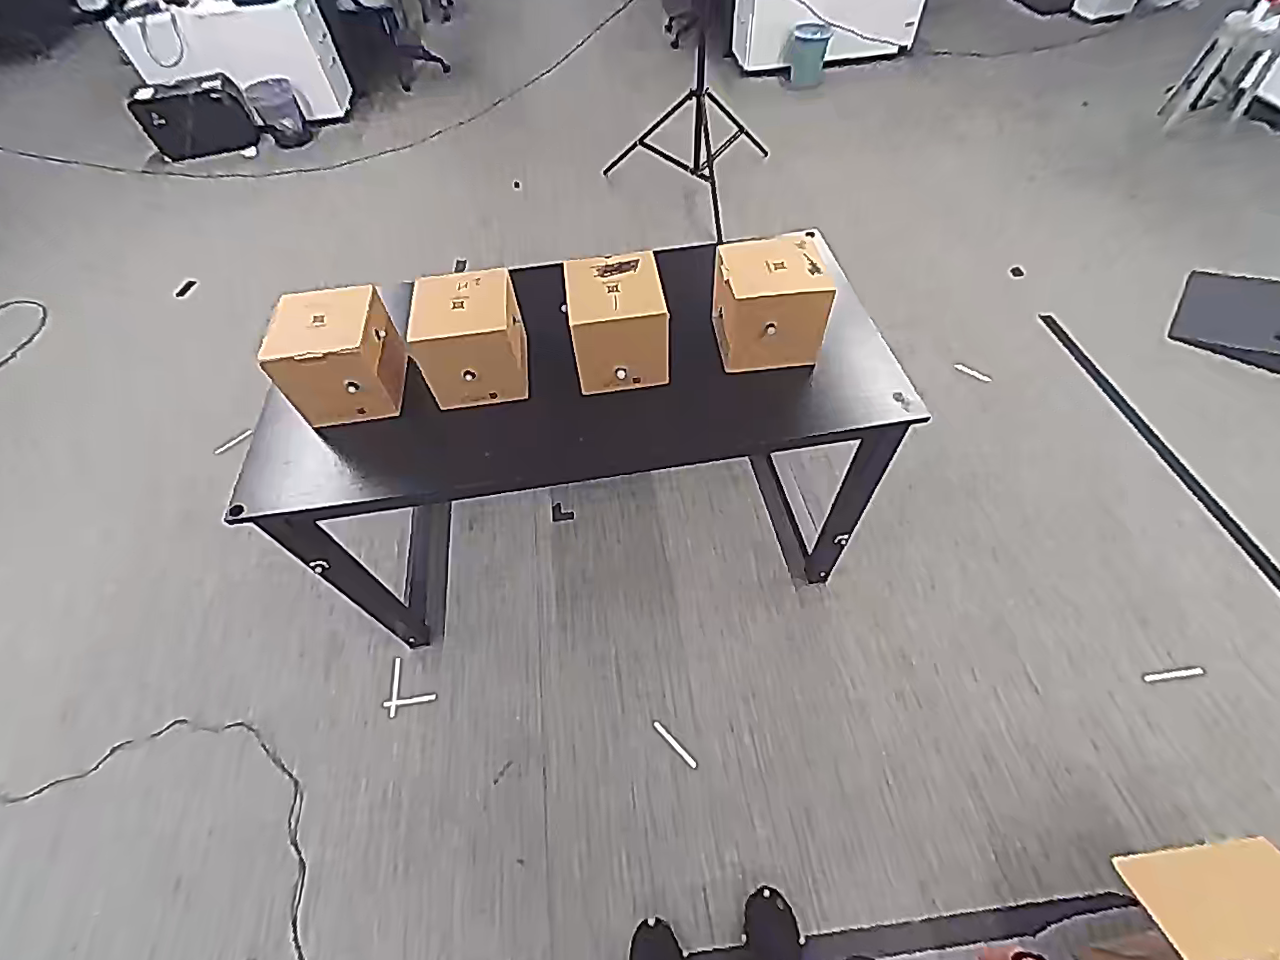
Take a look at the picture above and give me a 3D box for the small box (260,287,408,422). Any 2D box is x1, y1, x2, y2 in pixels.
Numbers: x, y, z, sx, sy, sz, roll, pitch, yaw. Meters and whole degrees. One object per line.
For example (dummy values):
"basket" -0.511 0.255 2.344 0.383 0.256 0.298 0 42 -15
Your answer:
"small box" -0.542 -0.221 0.988 0.168 0.176 0.179 -8 54 -3

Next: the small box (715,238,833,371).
"small box" 0.237 -0.321 1.007 0.179 0.176 0.168 -6 55 0

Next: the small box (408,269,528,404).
"small box" -0.305 -0.255 0.995 0.168 0.176 0.179 -8 55 -2

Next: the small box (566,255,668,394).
"small box" -0.042 -0.284 0.999 0.168 0.176 0.179 -8 56 -2
